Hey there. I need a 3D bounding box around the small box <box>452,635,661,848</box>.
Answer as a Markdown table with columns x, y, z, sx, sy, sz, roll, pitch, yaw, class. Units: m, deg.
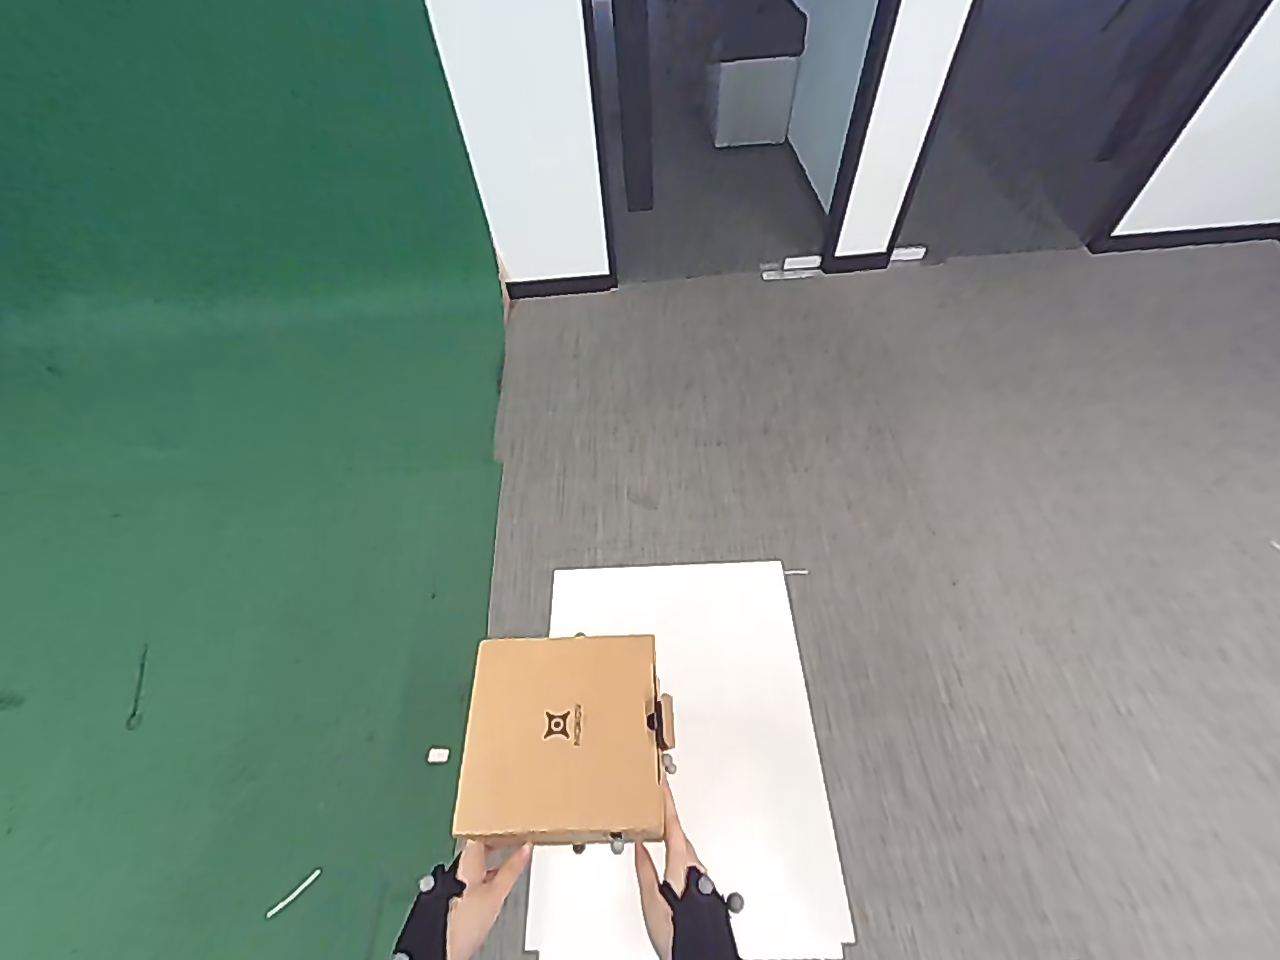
| x | y | z | sx | sy | sz | roll | pitch | yaw | class |
| --- | --- | --- | --- | --- | --- | --- | --- | --- | --- |
| -0.069 | 0.272 | 0.555 | 0.179 | 0.176 | 0.168 | -2 | 53 | 0 | small box |
